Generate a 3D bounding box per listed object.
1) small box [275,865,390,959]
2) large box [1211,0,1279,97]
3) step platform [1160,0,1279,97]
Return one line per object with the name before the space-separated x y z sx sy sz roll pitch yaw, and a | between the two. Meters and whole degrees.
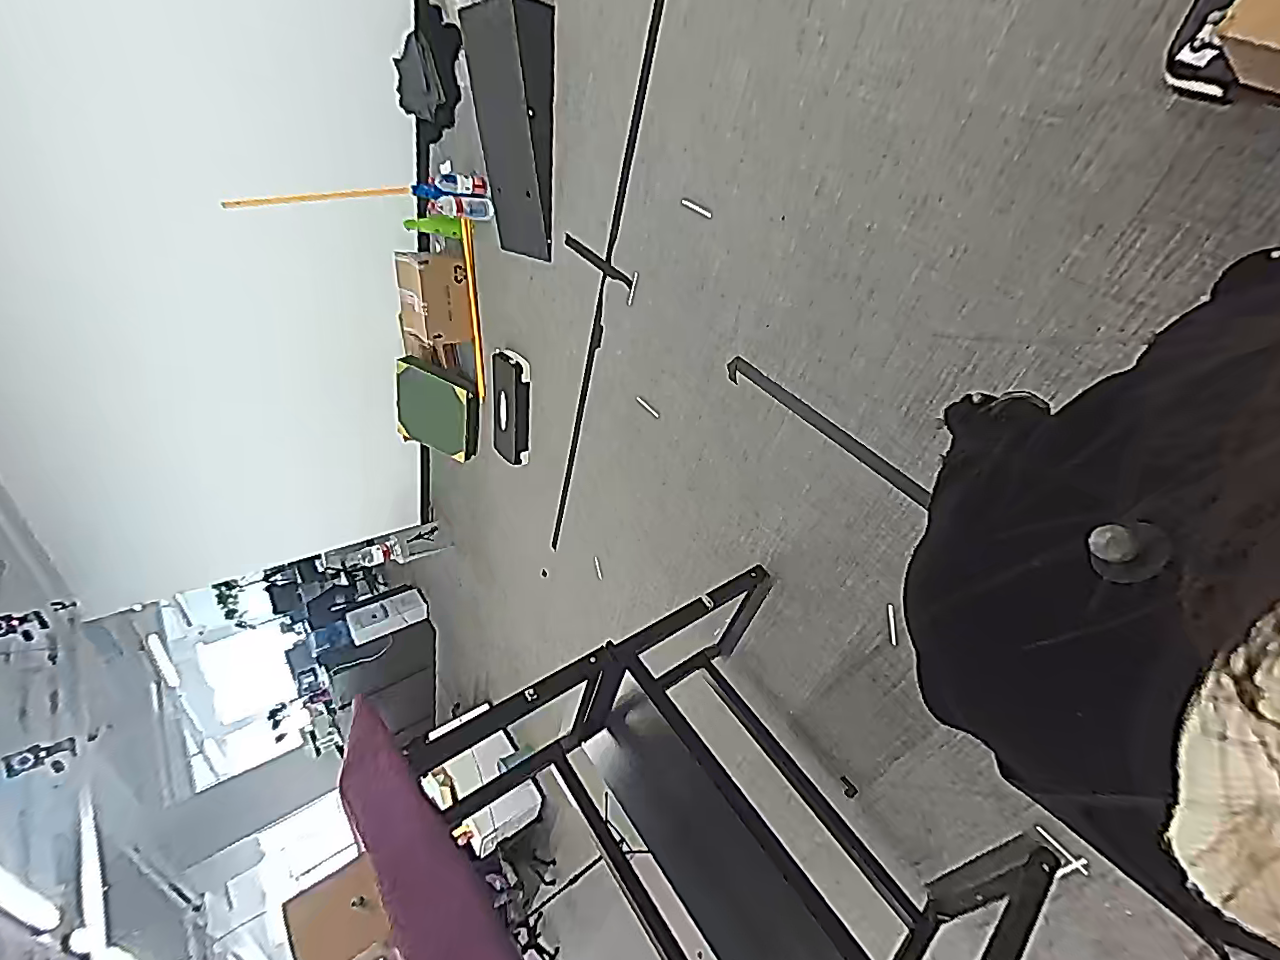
small box | -0.648 0.965 1.152 0.179 0.176 0.168 44 136 32
large box | 0.952 -0.542 0.539 0.408 0.320 0.320 49 137 29
step platform | 1.119 -0.604 0.700 0.684 0.204 0.286 51 138 28
